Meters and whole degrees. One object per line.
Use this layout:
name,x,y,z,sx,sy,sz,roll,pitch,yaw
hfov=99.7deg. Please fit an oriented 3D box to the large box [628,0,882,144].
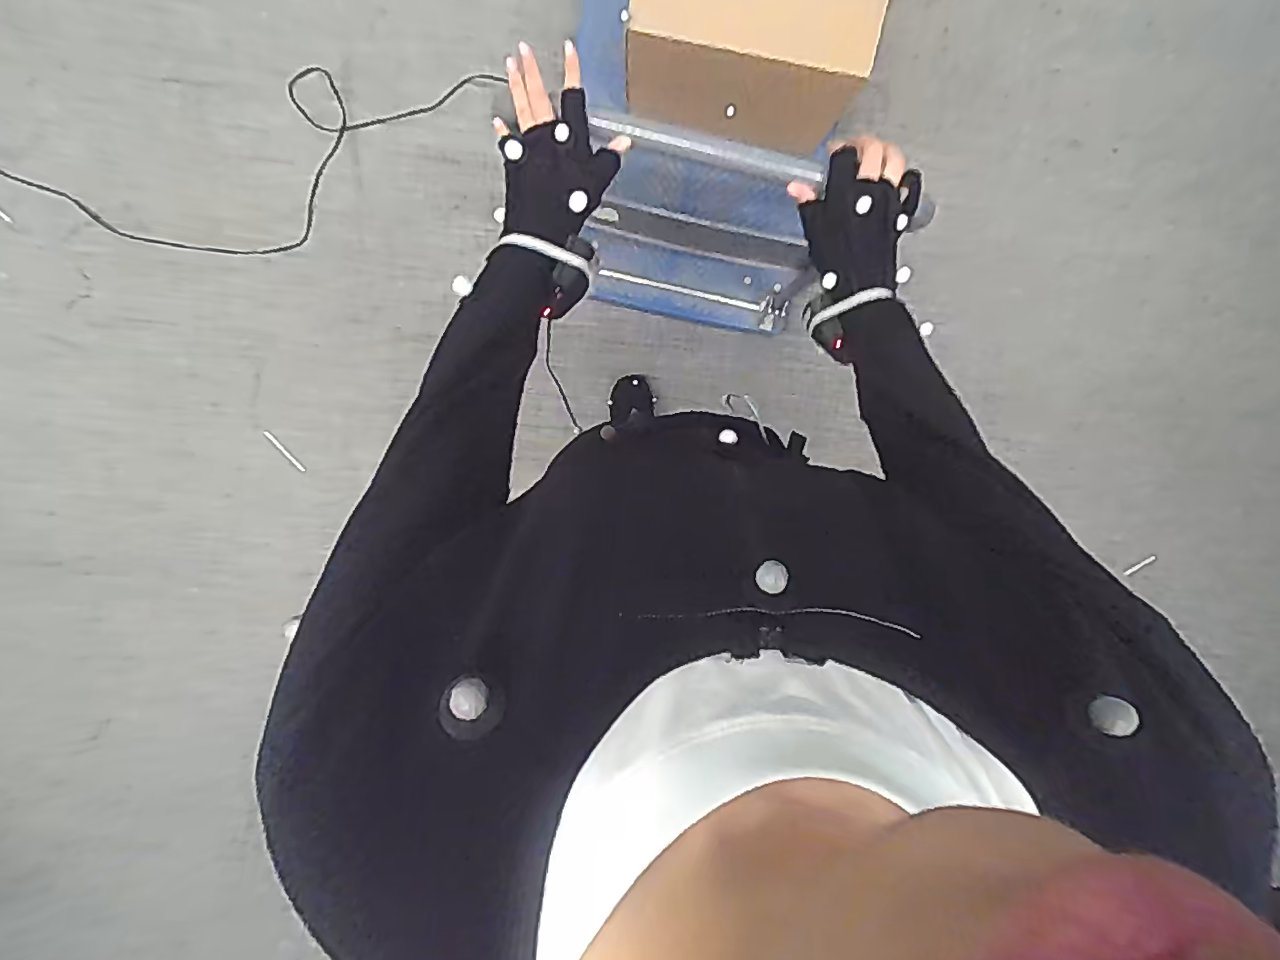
large box,0.201,-0.873,0.995,0.408,0.320,0.320,10,99,-2
